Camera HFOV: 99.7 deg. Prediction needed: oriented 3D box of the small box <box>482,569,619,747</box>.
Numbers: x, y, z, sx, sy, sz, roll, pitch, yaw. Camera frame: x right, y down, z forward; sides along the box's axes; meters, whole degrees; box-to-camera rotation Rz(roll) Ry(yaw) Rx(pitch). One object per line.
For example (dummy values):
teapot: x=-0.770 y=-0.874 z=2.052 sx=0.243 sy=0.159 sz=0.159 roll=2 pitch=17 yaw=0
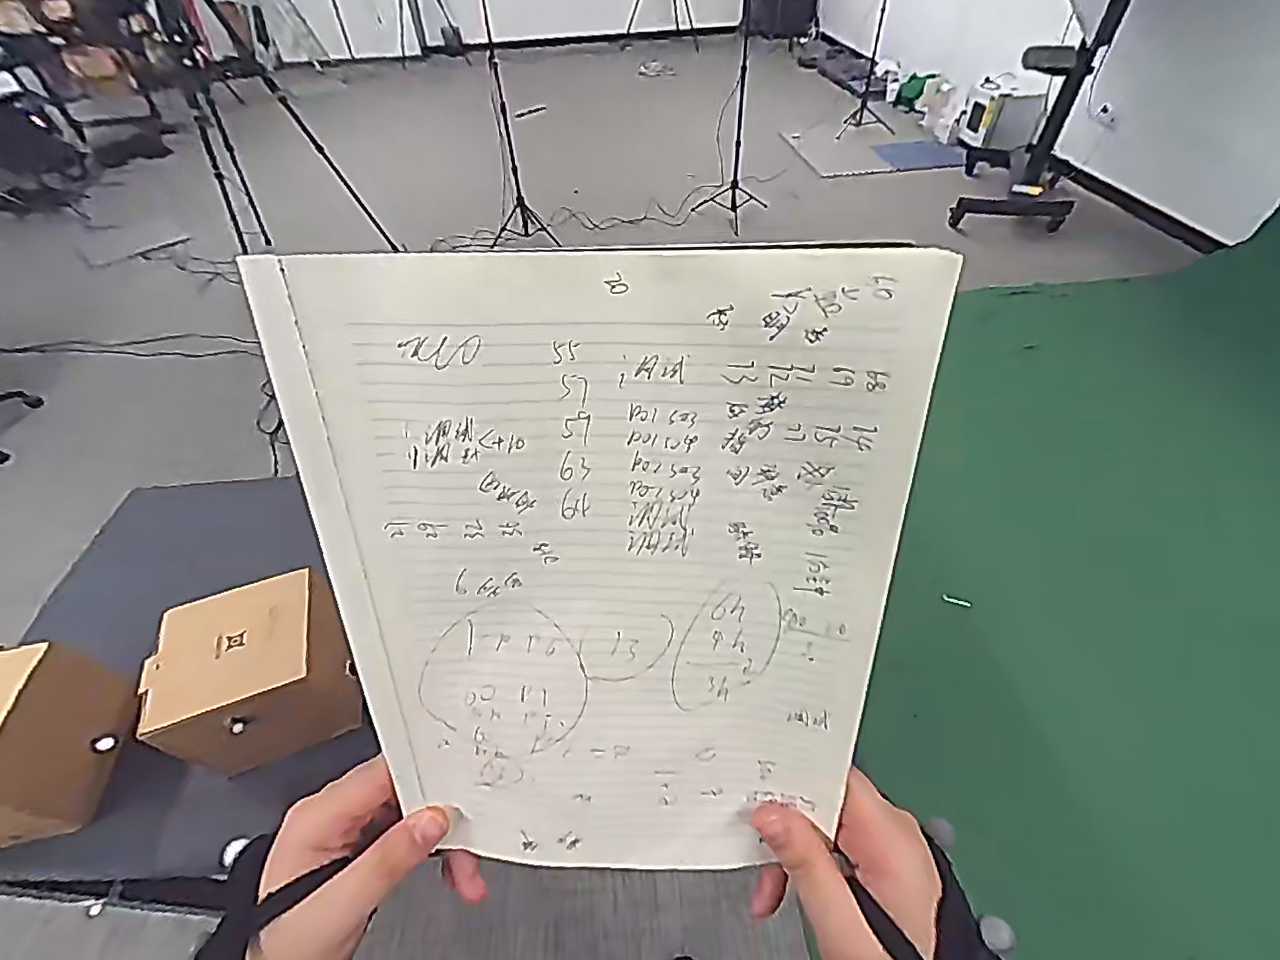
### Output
small box: x=-0.124 y=0.227 z=0.719 sx=0.168 sy=0.176 sz=0.179 roll=5 pitch=48 yaw=9

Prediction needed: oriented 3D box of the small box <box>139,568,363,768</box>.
small box: x=-0.495 y=0.252 z=0.719 sx=0.179 sy=0.176 sz=0.168 roll=-17 pitch=50 yaw=-14

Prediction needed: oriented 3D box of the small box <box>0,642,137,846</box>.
small box: x=-0.783 y=0.328 z=0.663 sx=0.168 sy=0.176 sz=0.179 roll=-10 pitch=48 yaw=-6

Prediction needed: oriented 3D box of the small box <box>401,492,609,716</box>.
small box: x=-0.126 y=0.136 z=0.583 sx=0.179 sy=0.176 sz=0.168 roll=-7 pitch=47 yaw=-2
